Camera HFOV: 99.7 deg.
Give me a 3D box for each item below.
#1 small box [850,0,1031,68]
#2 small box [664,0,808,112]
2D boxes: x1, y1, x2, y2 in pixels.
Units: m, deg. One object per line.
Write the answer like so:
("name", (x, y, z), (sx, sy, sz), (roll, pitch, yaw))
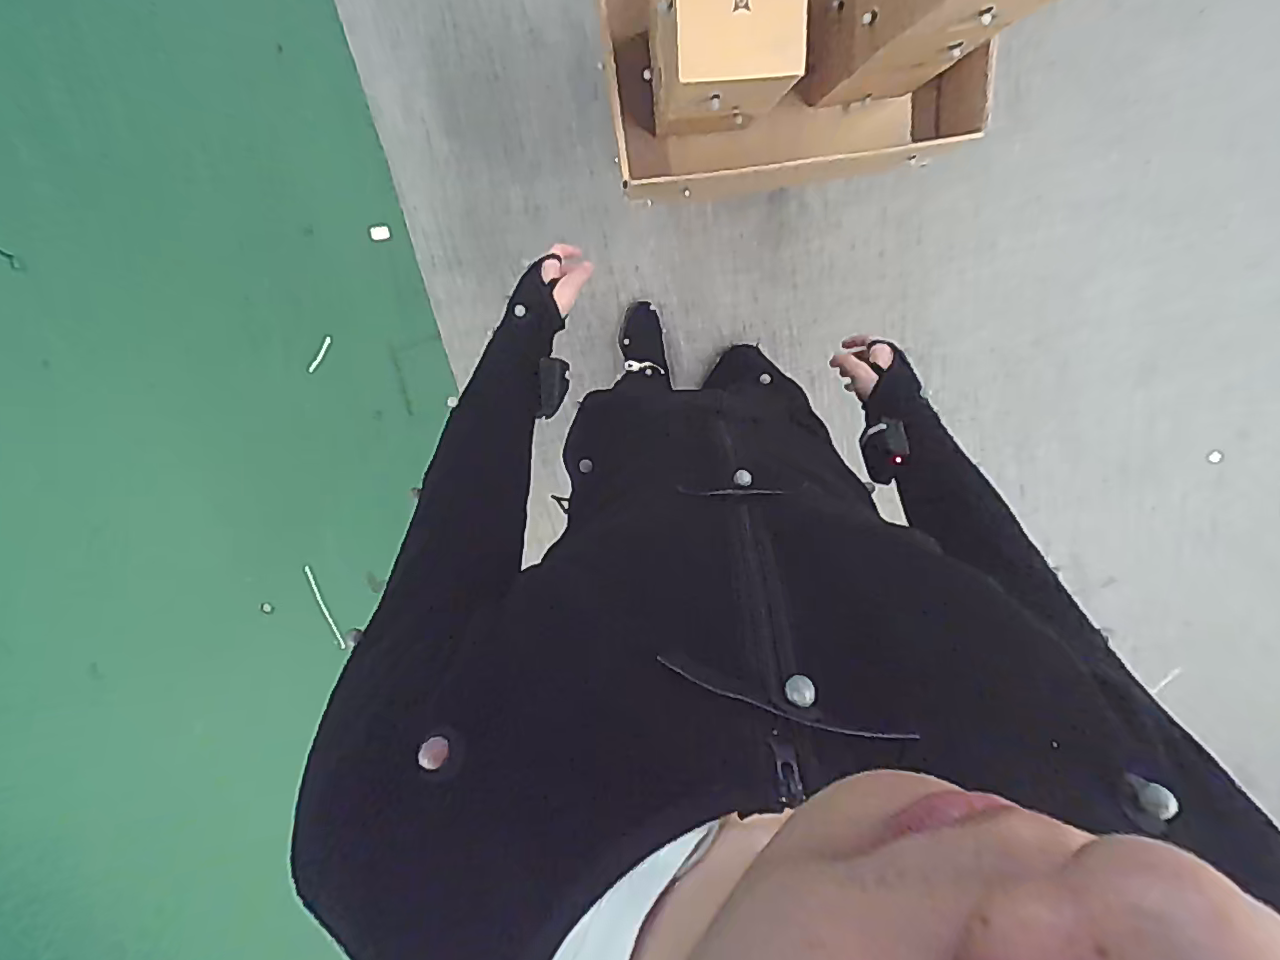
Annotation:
("small box", (0.395, -0.684, 0.724), (0.168, 0.176, 0.179), (-8, 110, -1))
("small box", (0.123, -0.623, 0.735), (0.168, 0.176, 0.179), (-5, 110, -1))
